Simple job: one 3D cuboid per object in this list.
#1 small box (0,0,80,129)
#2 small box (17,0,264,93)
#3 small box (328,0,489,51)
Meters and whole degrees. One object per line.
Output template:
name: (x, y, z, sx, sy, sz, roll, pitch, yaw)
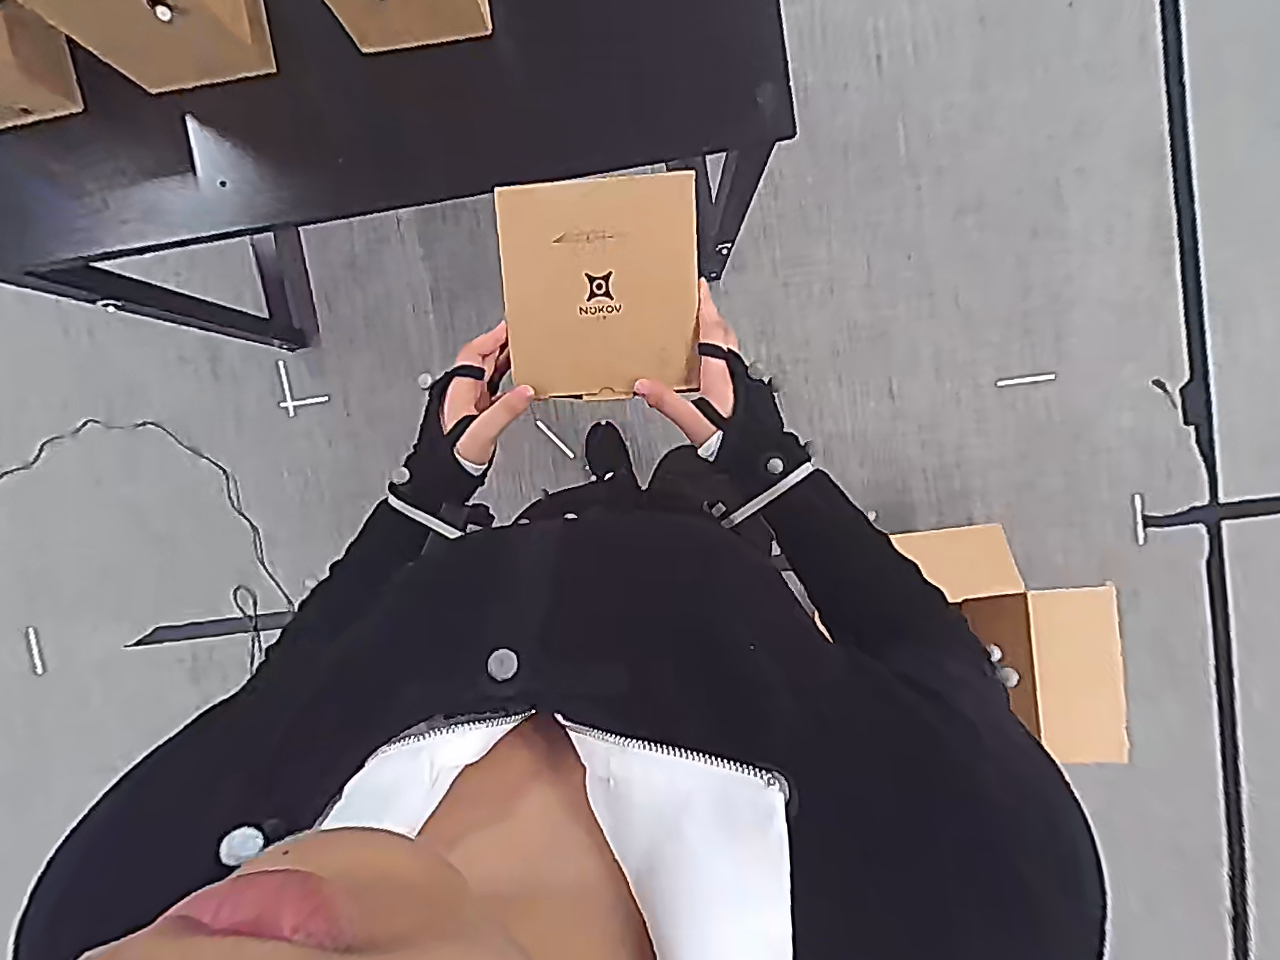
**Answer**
small box: (-0.849, -0.562, 0.649, 0.168, 0.176, 0.179, -11, 95, 2)
small box: (-0.586, -0.604, 0.640, 0.179, 0.176, 0.168, -9, 94, 1)
small box: (-0.297, -0.649, 0.633, 0.179, 0.176, 0.168, -7, 94, 2)
